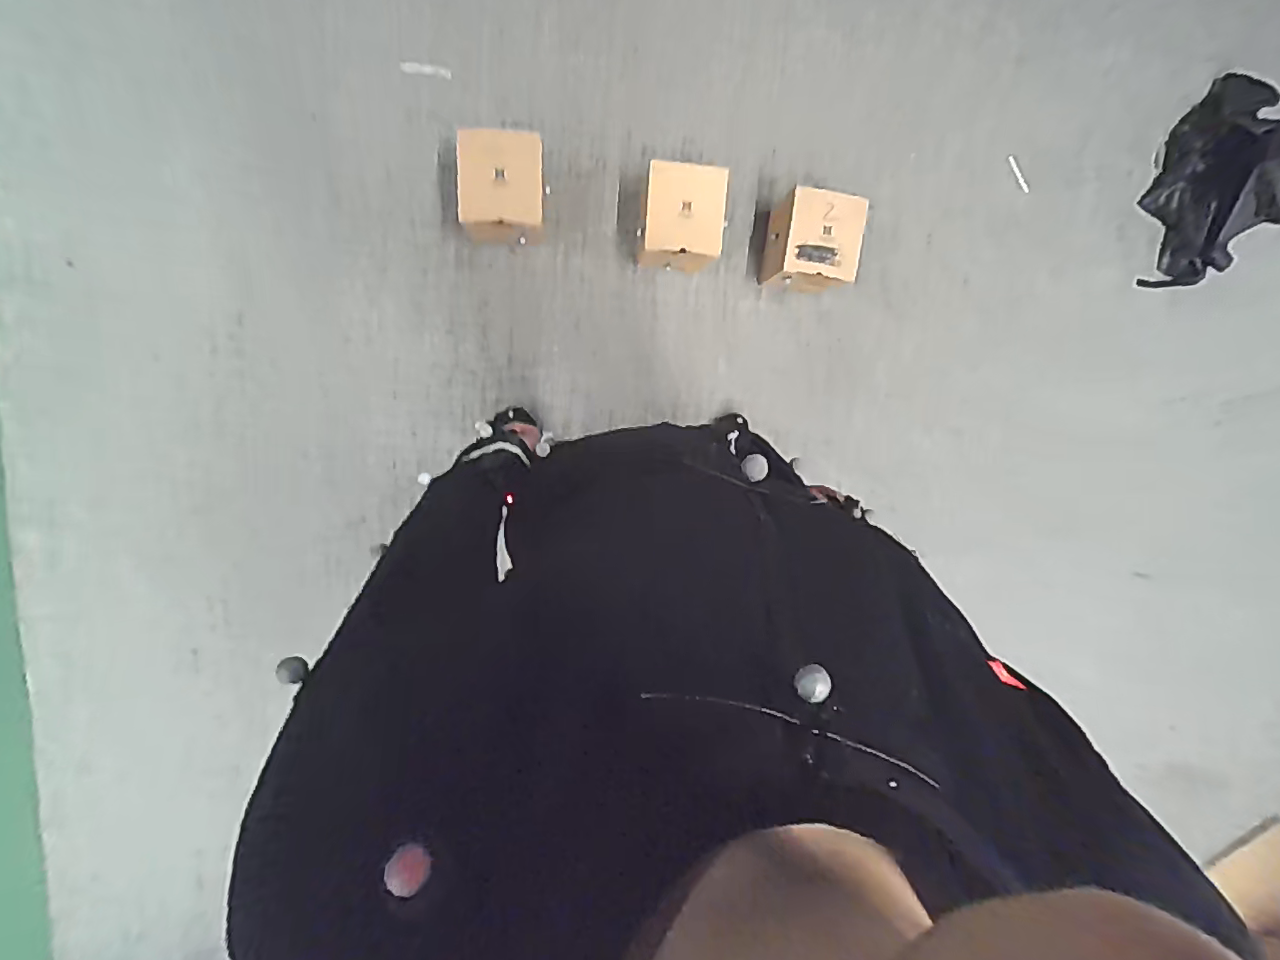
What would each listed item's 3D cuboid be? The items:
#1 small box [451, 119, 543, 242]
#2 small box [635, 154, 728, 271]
[{"bbox_3d":[-0.289,-0.607,1.121,0.168,0.176,0.179,0,98,-7],"label":"small box"},{"bbox_3d":[0.081,-0.569,1.170,0.168,0.176,0.179,3,99,-7],"label":"small box"}]
